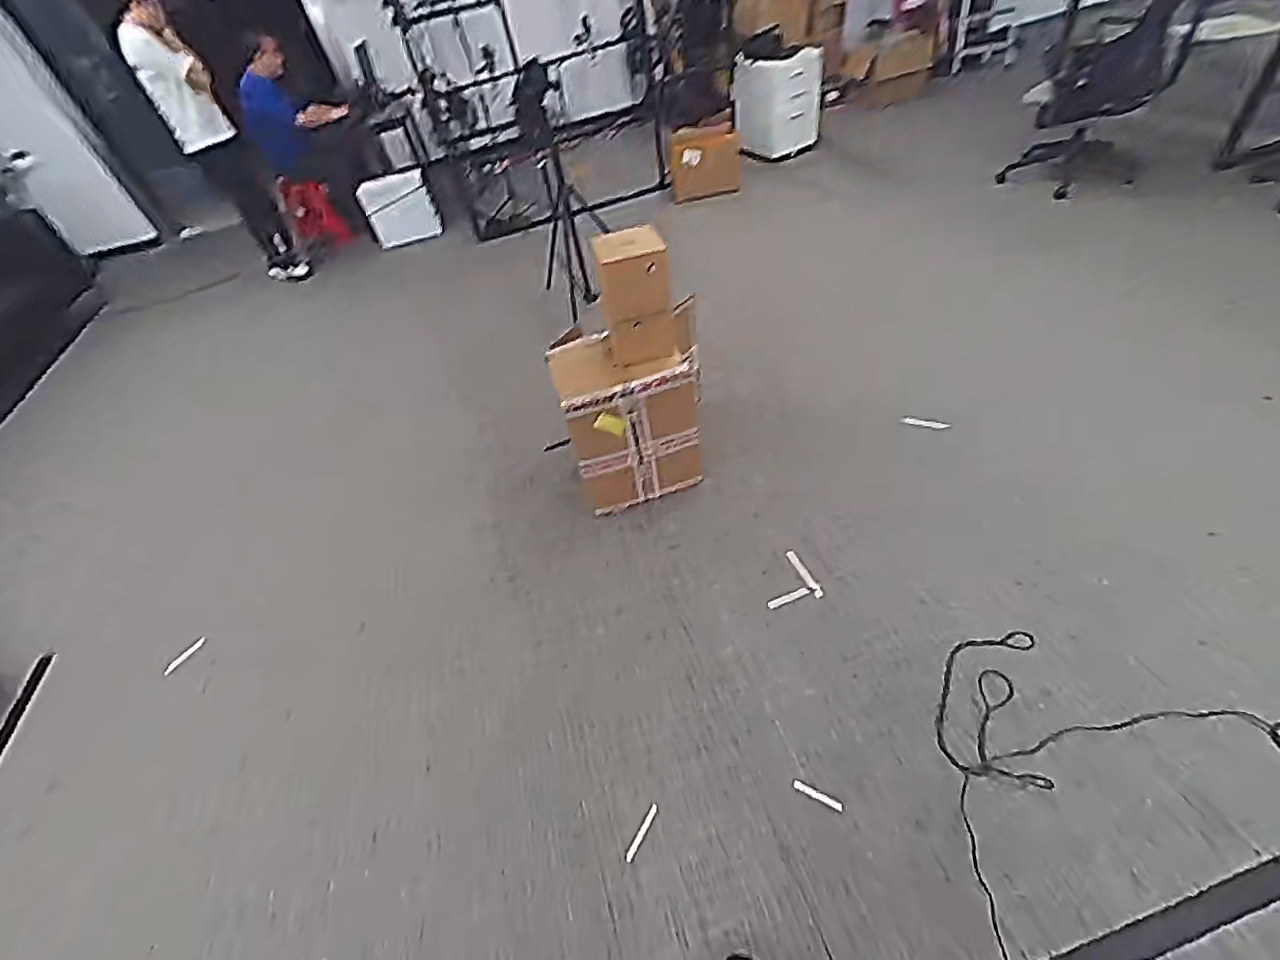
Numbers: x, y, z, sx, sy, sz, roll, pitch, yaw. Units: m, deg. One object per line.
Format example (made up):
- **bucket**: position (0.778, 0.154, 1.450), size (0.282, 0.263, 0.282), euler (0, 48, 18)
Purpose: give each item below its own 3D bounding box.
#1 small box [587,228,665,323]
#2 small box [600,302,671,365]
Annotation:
- **small box**: position (-0.033, -0.557, 1.477), size (0.179, 0.176, 0.168), euler (-16, 47, -5)
- **small box**: position (-0.015, -0.464, 1.614), size (0.179, 0.176, 0.168), euler (-13, 47, -3)
